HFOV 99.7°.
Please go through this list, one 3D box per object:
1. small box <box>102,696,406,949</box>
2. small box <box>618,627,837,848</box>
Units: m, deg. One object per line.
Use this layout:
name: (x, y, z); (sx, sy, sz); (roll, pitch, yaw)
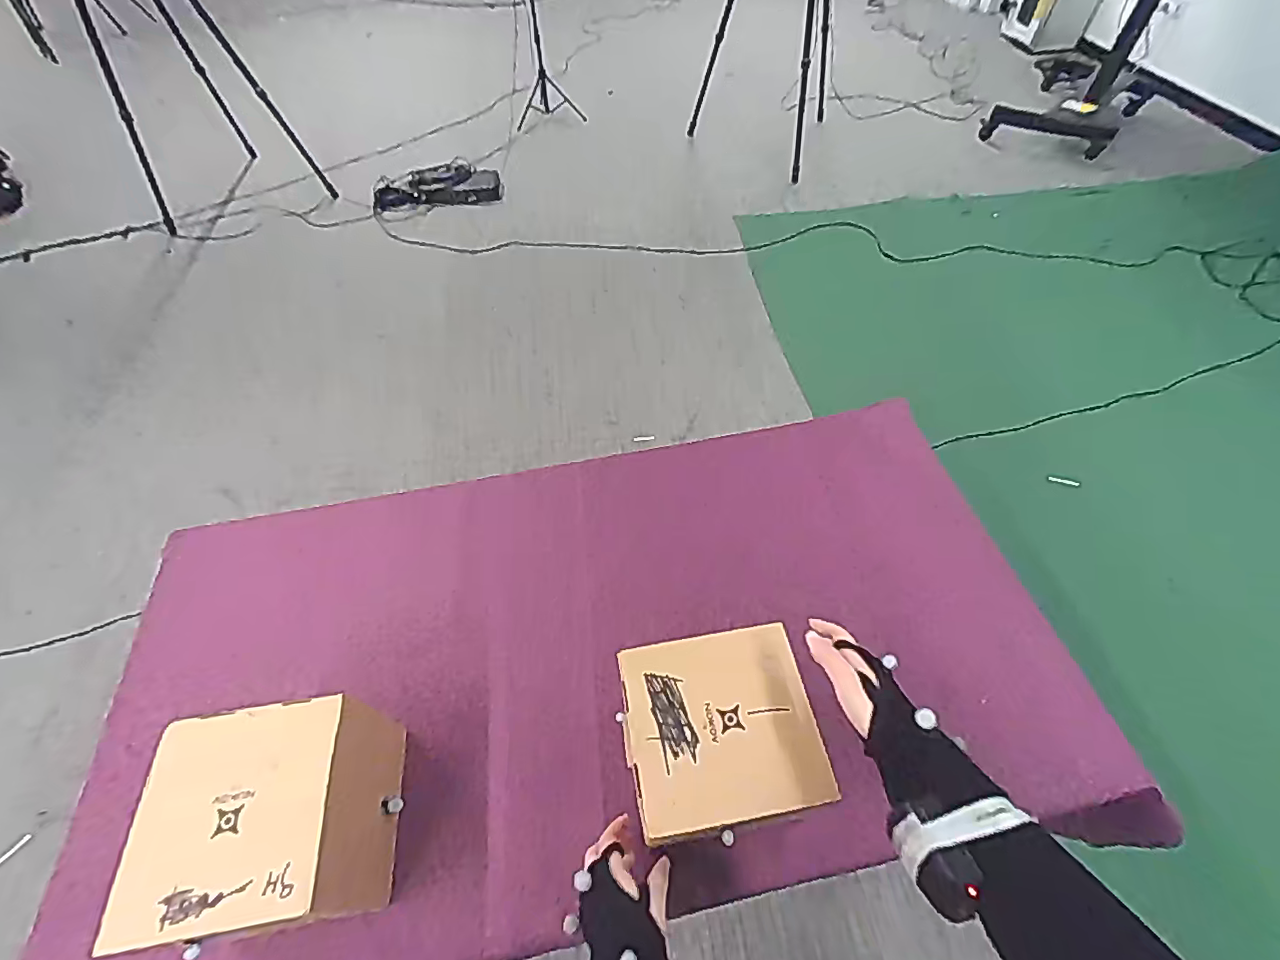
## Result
small box: (-0.352, 0.340, 0.543); (0.168, 0.176, 0.179); (-8, 53, -3)
small box: (0.079, 0.277, 0.574); (0.179, 0.176, 0.168); (-9, 54, -4)
